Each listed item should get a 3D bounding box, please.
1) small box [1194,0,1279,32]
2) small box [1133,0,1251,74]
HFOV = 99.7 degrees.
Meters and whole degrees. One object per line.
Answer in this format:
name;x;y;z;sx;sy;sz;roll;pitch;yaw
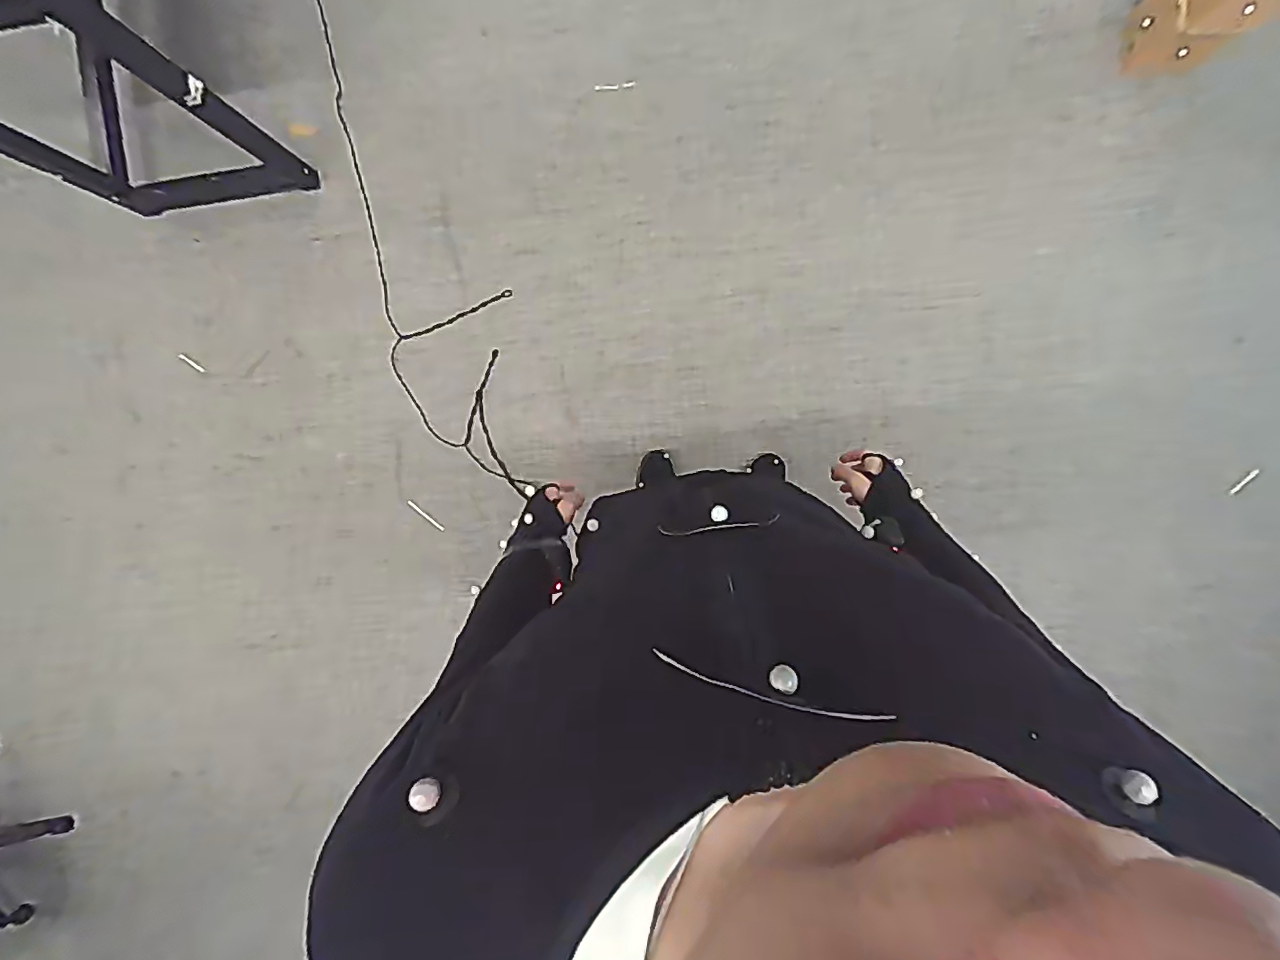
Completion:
small box;1.428;-1.165;1.231;0.168;0.176;0.179;2;94;3
small box;1.431;-1.185;1.393;0.179;0.176;0.168;3;95;5
